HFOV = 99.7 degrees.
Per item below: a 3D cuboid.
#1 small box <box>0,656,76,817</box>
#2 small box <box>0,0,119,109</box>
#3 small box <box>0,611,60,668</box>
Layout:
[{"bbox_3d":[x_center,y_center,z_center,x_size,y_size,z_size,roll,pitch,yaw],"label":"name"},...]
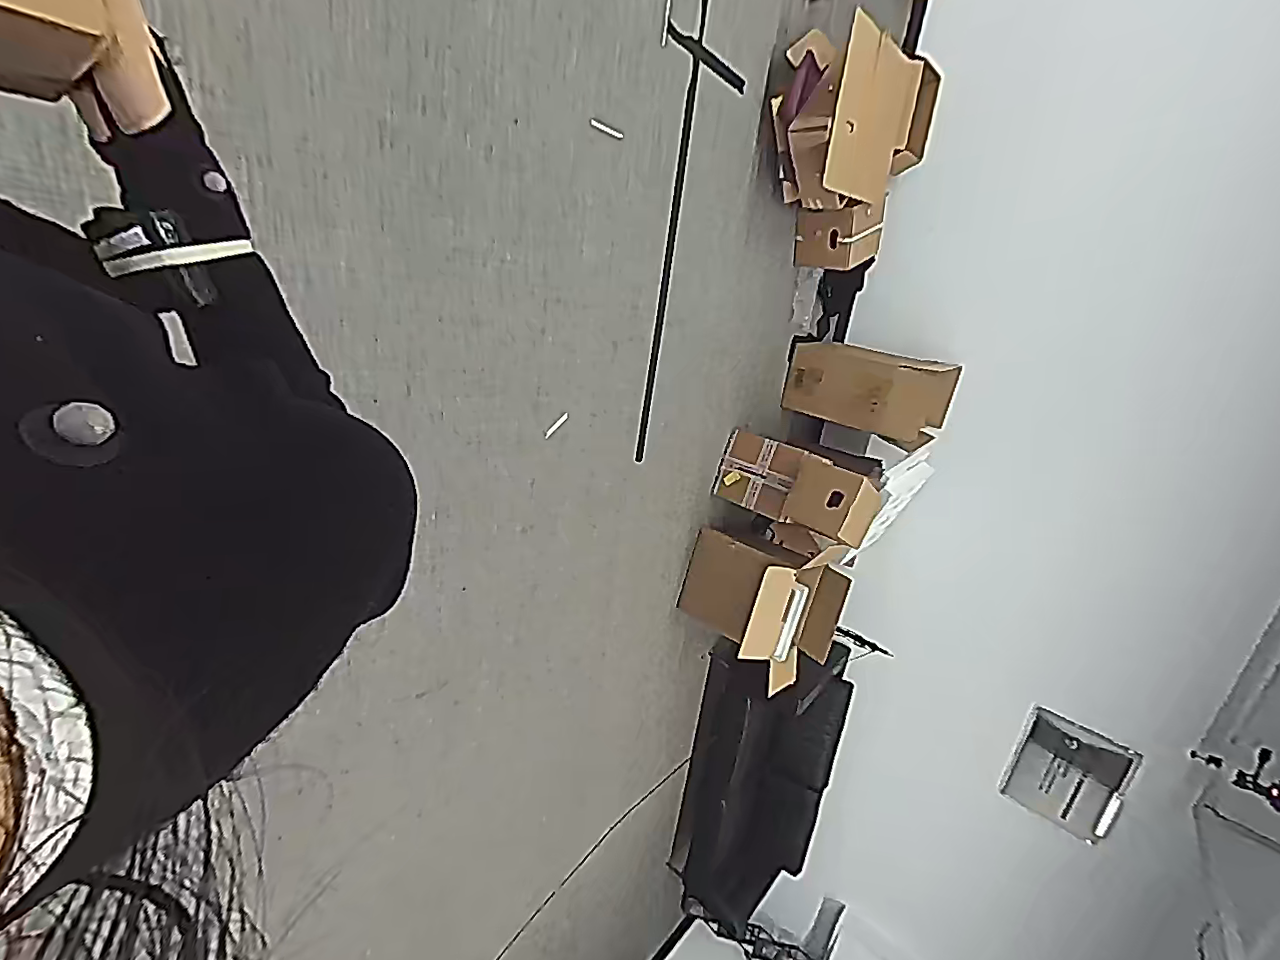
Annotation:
[{"bbox_3d":[-0.994,0.394,0.816,0.179,0.176,0.168,-7,111,-51],"label":"small box"},{"bbox_3d":[-0.368,-0.294,0.230,0.168,0.176,0.179,-18,117,-50],"label":"small box"},{"bbox_3d":[-1.116,0.340,0.907,0.179,0.176,0.168,-2,108,-52],"label":"small box"}]
